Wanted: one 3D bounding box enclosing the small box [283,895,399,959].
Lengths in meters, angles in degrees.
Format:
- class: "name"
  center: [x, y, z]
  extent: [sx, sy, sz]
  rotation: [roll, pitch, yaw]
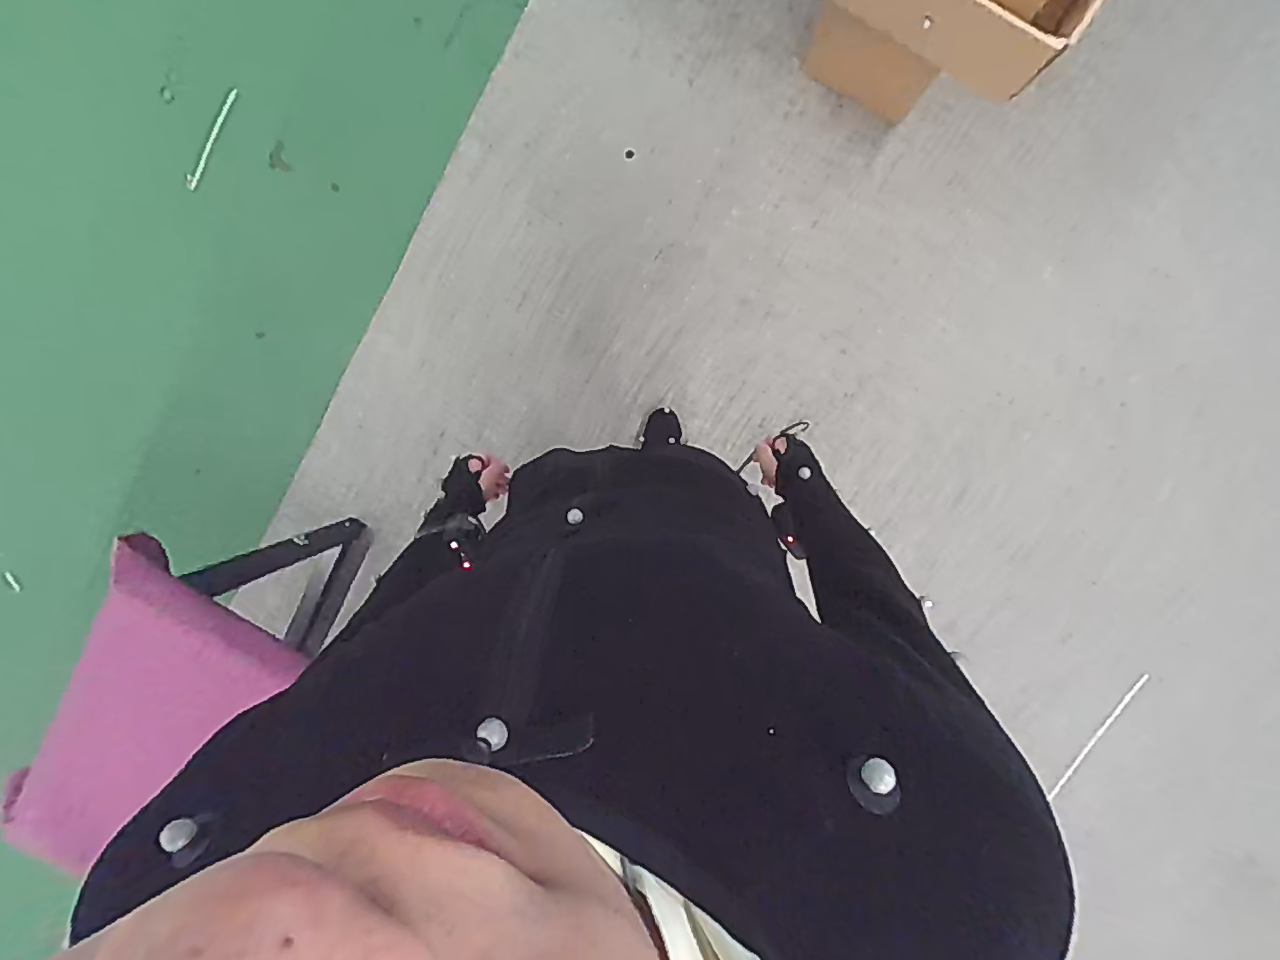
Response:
- class: "small box"
  center: [-0.556, 0.893, 0.950]
  extent: [0.168, 0.176, 0.179]
  rotation: [29, 98, 0]
